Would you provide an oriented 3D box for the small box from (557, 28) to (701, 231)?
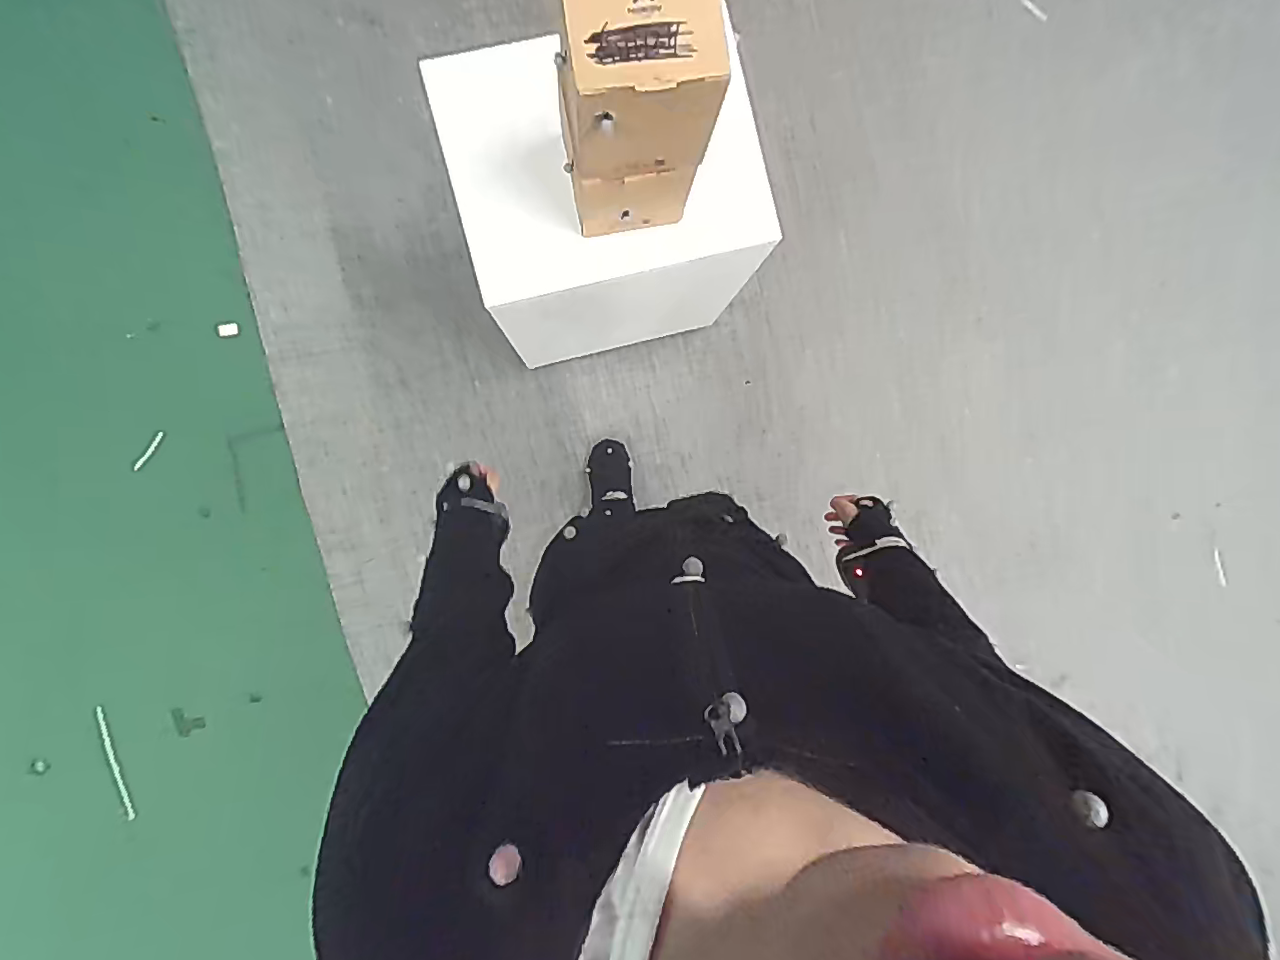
[{"bbox_3d":[-0.021,-0.494,0.783,0.168,0.176,0.179,-11,91,-4],"label":"small box"}]
